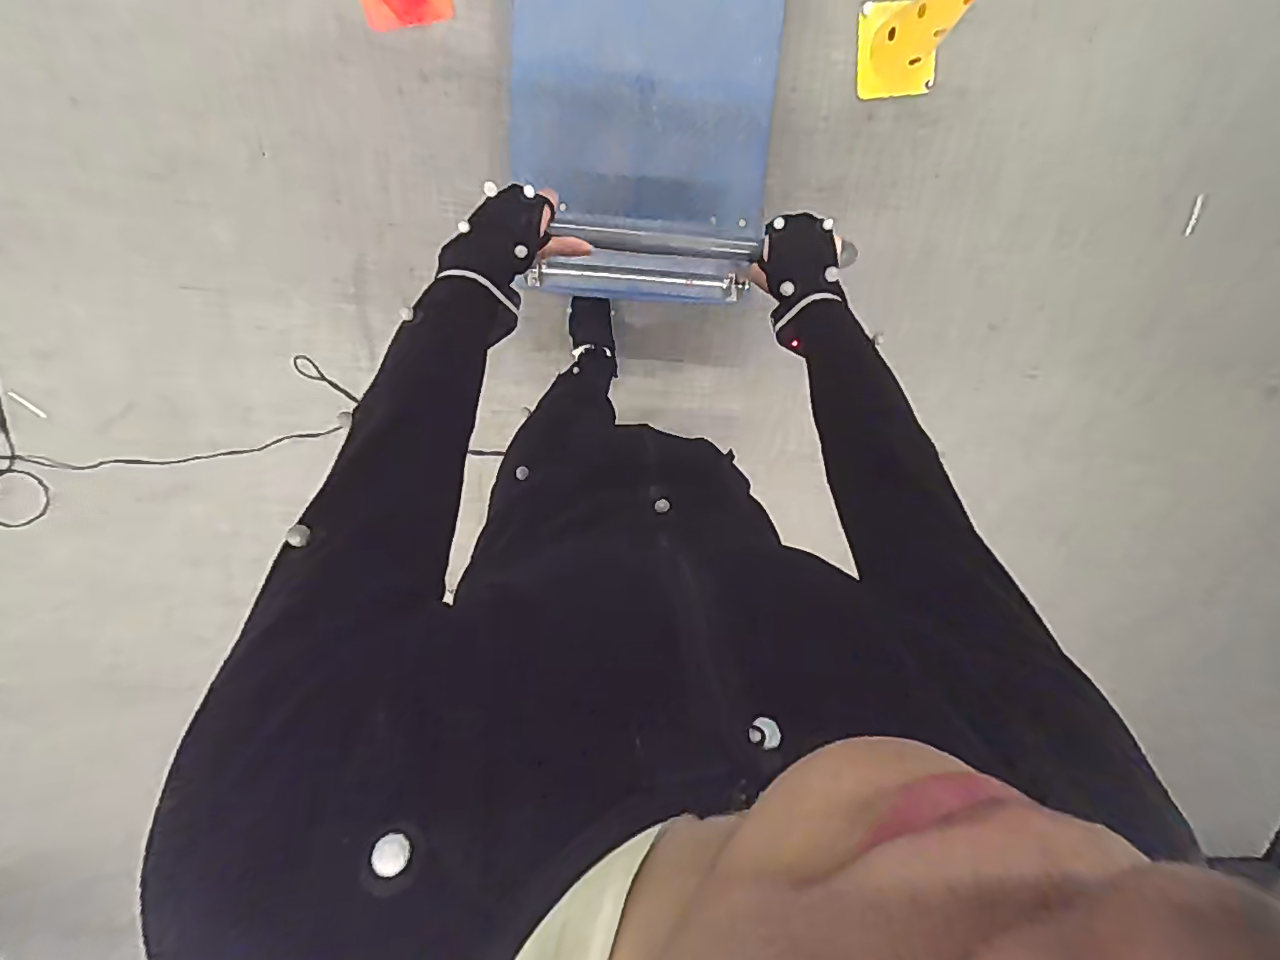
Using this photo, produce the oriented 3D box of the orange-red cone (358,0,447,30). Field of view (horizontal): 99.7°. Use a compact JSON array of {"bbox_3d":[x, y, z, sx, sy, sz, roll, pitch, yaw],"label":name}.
[{"bbox_3d":[-0.533,-1.083,1.047,0.199,0.360,0.198,-10,107,-1],"label":"orange-red cone"}]
